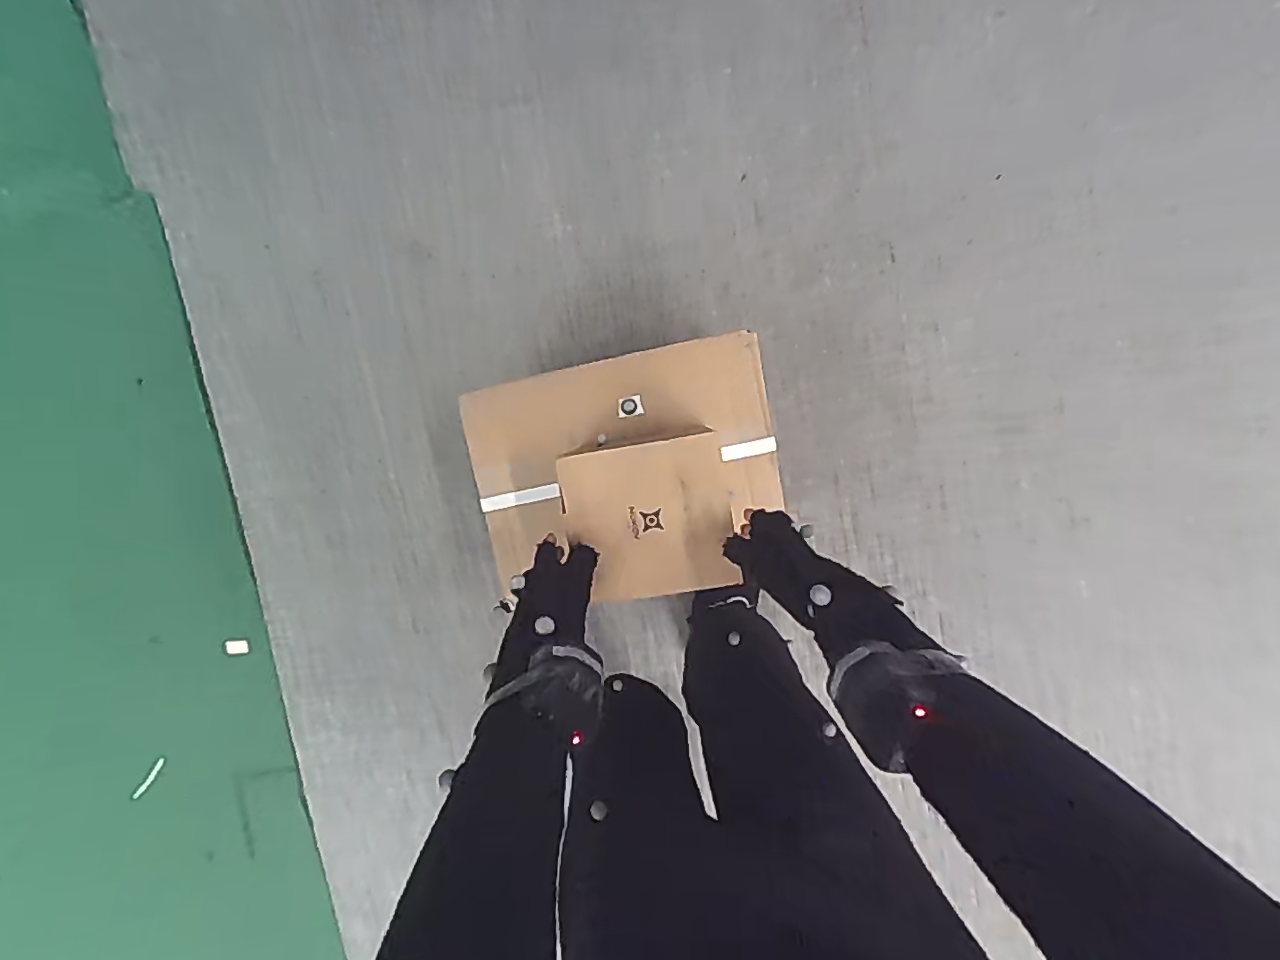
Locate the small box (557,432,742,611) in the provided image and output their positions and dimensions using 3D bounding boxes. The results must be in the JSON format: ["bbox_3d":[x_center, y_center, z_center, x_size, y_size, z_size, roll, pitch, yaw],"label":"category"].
[{"bbox_3d":[0.015,0.039,0.647,0.179,0.176,0.168,-10,97,4],"label":"small box"}]
